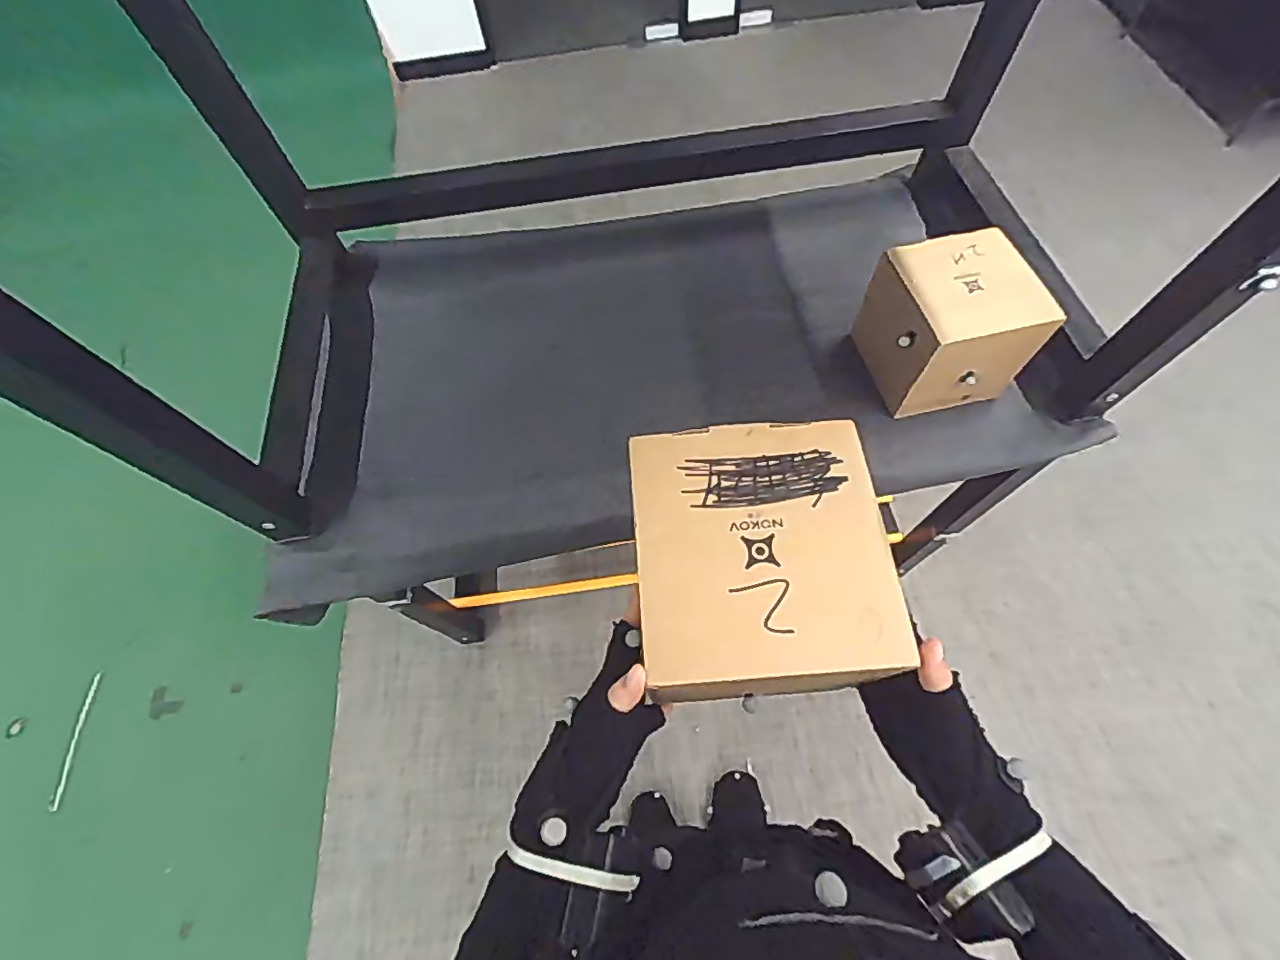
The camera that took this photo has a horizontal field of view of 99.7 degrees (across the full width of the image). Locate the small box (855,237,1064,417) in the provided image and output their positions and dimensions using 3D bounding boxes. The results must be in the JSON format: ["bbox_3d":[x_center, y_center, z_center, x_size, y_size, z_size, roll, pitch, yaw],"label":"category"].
[{"bbox_3d":[0.437,-0.208,0.776,0.168,0.176,0.179,-12,62,-3],"label":"small box"}]
